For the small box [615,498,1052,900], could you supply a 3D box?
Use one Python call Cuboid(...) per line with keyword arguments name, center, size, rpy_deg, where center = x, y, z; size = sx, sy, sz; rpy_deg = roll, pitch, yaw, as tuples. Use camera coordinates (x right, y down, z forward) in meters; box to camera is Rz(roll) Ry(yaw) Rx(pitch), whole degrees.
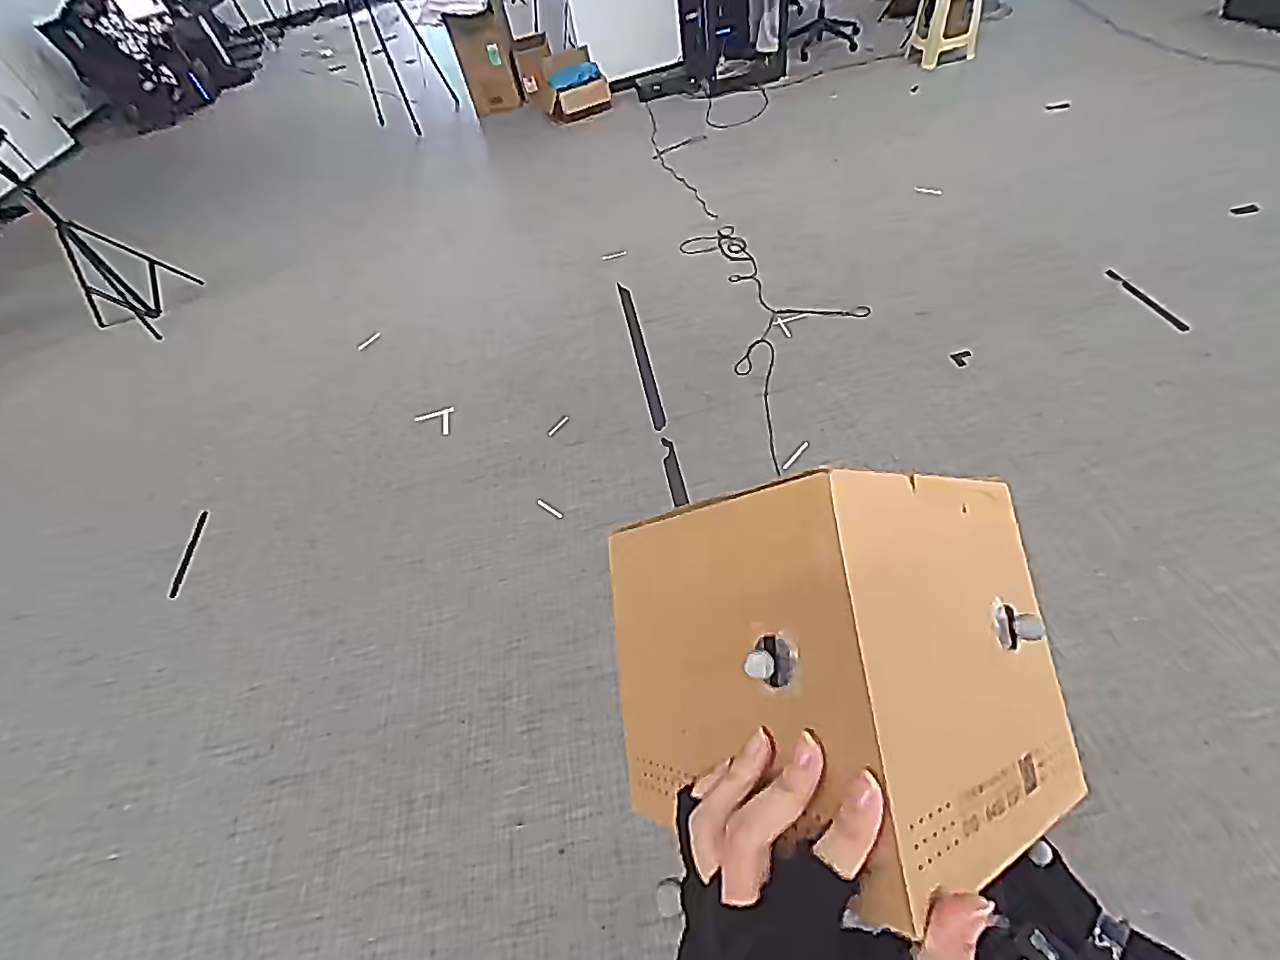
Cuboid(name="small box", center=(0.105, 0.110, 0.327), size=(0.168, 0.179, 0.176), rpy_deg=(3, 74, -34))
